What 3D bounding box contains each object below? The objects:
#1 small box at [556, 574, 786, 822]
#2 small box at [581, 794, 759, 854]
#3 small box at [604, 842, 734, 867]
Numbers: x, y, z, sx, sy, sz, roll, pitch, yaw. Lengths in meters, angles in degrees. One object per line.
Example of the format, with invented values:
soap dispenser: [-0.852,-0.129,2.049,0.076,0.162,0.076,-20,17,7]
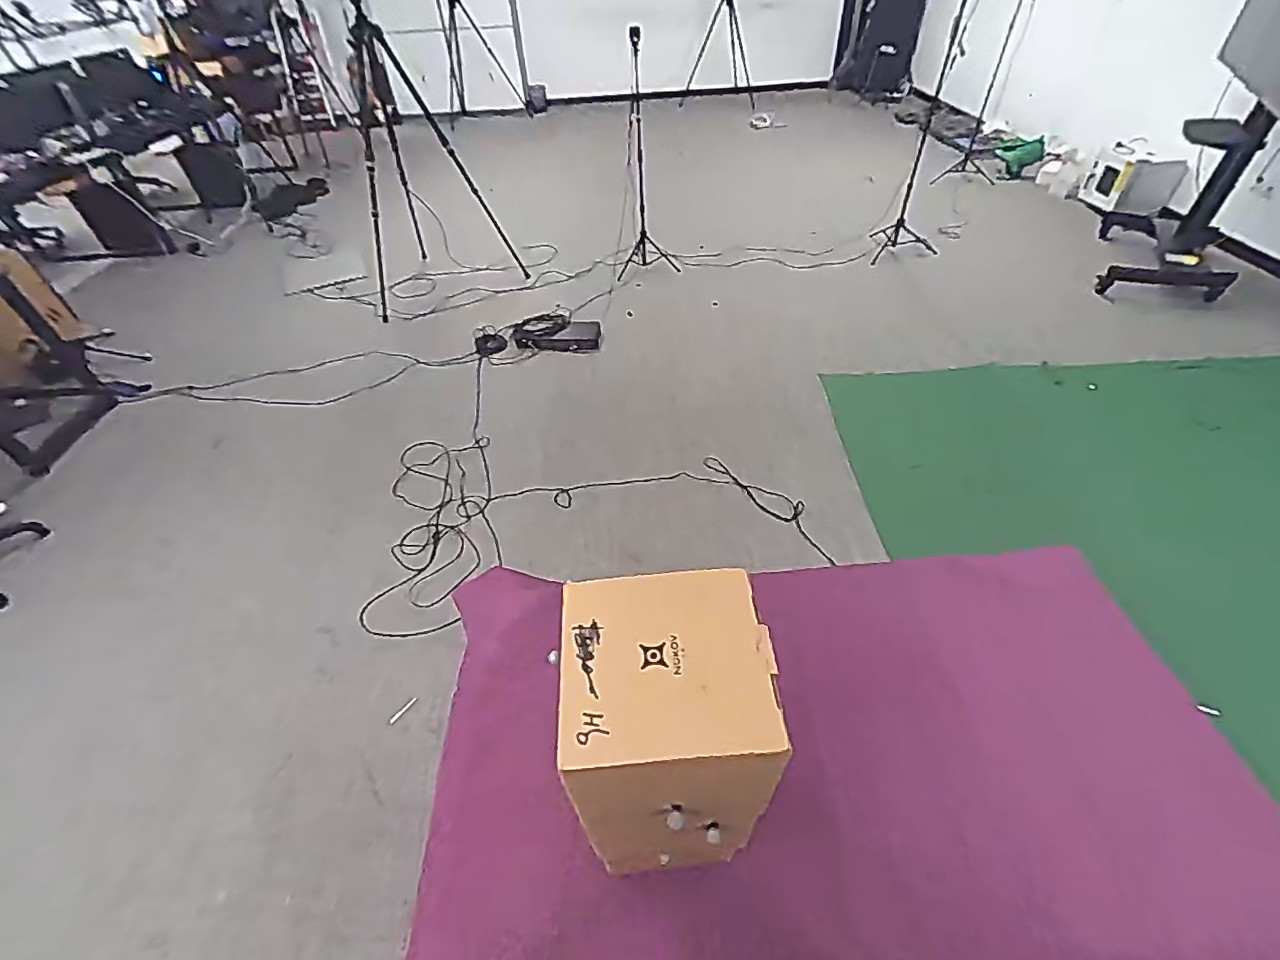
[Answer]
small box: [0.022,0.208,0.515,0.179,0.176,0.168,-4,45,-1]
small box: [0.031,0.321,0.634,0.179,0.176,0.168,-4,45,1]
small box: [0.036,0.427,0.761,0.179,0.176,0.168,-6,45,0]
